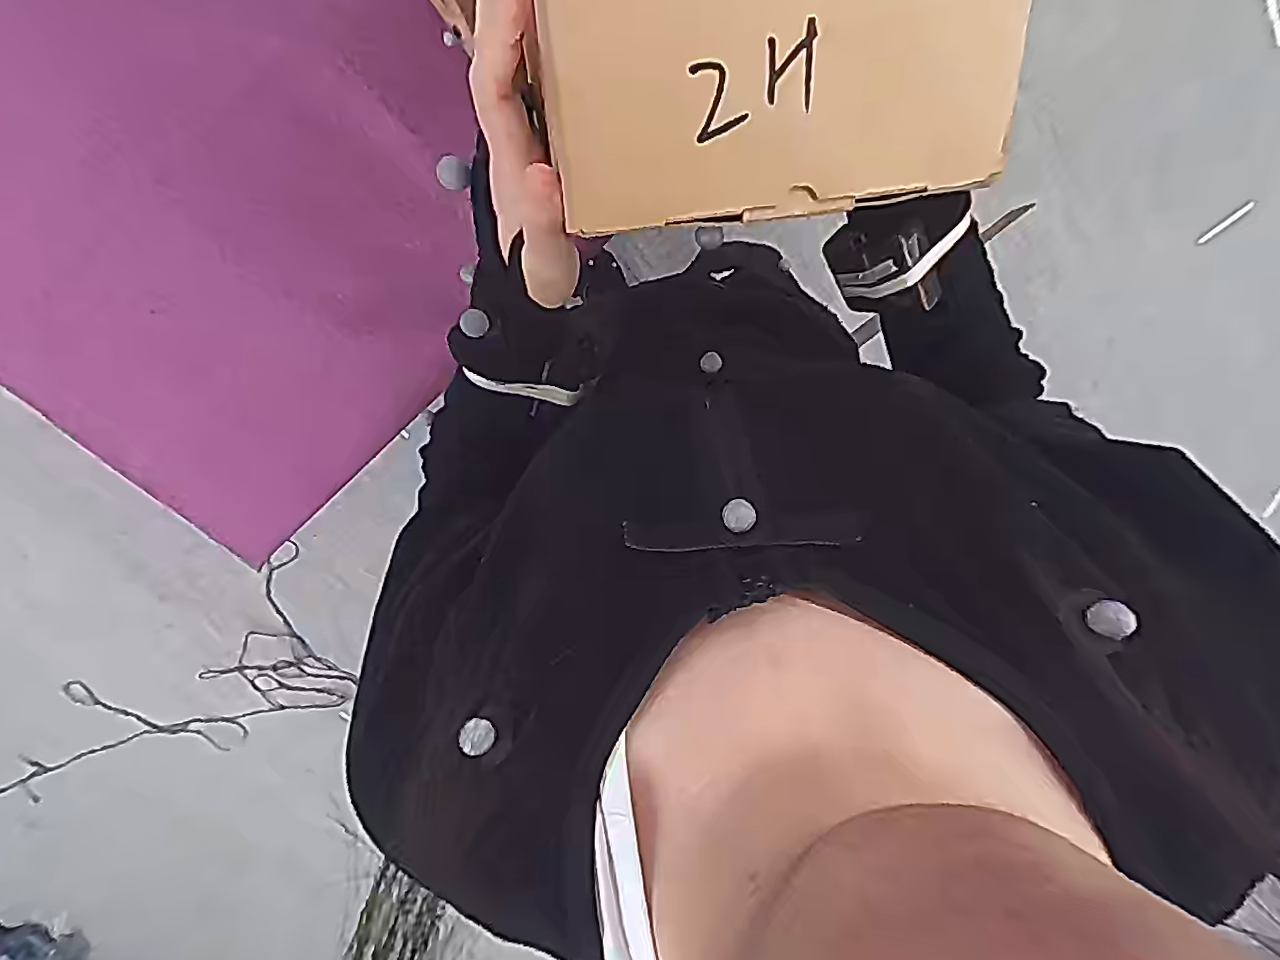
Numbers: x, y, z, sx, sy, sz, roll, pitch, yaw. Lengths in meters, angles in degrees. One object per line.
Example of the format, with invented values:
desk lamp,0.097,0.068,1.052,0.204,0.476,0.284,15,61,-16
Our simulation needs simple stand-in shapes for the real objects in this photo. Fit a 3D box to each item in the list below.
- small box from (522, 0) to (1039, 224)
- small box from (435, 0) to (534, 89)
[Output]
small box,0.035,-0.214,0.229,0.168,0.176,0.179,-10,116,-7
small box,-0.119,-0.490,0.468,0.179,0.176,0.168,-37,112,9
